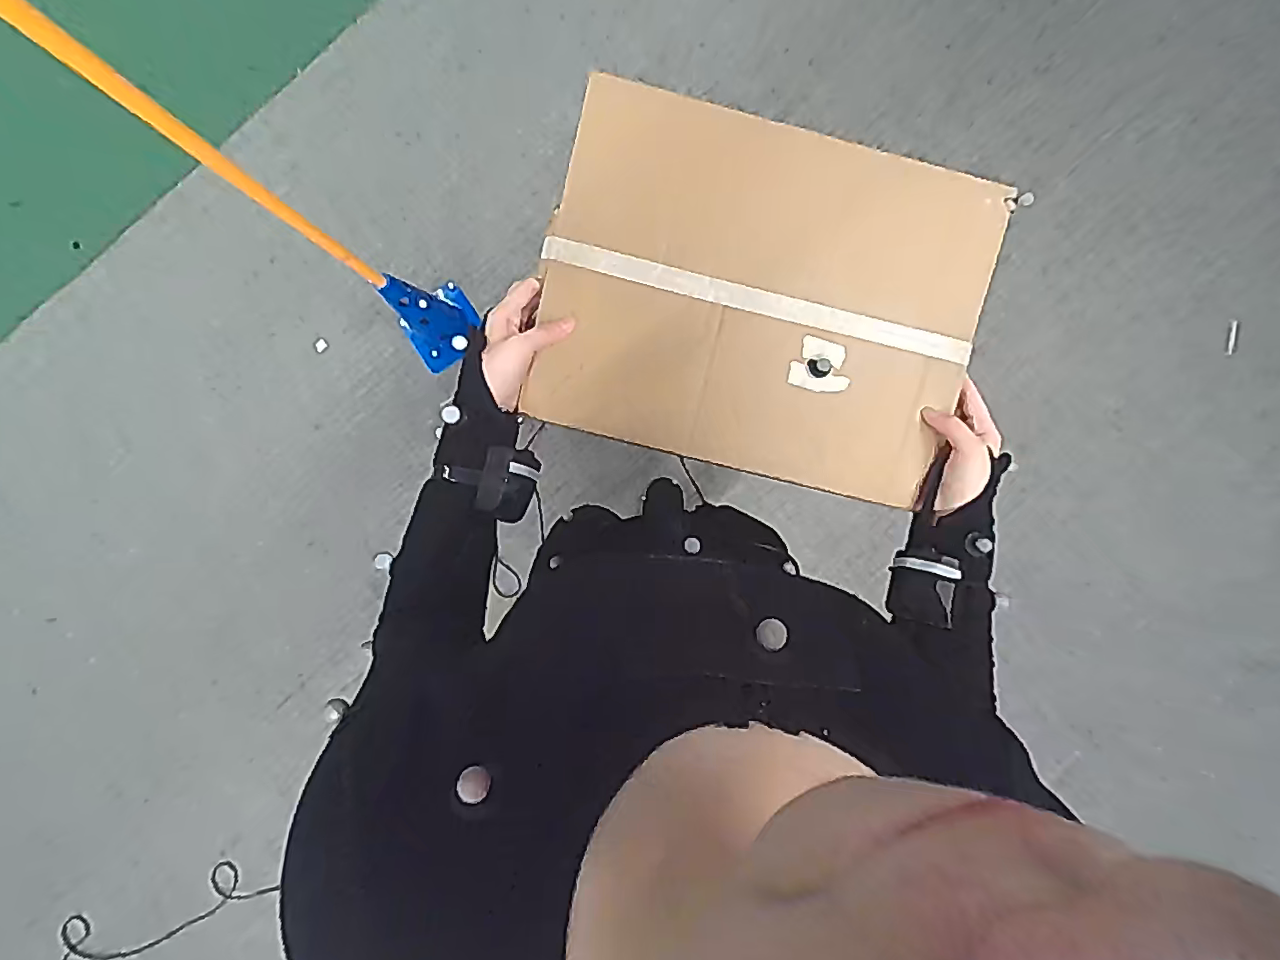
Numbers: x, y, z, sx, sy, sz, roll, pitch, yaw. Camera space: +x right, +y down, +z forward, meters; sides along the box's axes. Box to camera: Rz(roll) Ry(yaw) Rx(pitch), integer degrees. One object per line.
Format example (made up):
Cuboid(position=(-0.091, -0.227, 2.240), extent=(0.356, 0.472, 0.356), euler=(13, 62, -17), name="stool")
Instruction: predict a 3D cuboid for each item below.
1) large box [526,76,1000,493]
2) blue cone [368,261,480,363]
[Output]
Cuboid(position=(0.108, -0.190, 0.658), extent=(0.408, 0.320, 0.320), euler=(13, 96, -4), name="large box")
Cuboid(position=(-0.569, -0.447, 1.362), extent=(0.193, 0.380, 0.192), euler=(-32, 88, 1), name="blue cone")
